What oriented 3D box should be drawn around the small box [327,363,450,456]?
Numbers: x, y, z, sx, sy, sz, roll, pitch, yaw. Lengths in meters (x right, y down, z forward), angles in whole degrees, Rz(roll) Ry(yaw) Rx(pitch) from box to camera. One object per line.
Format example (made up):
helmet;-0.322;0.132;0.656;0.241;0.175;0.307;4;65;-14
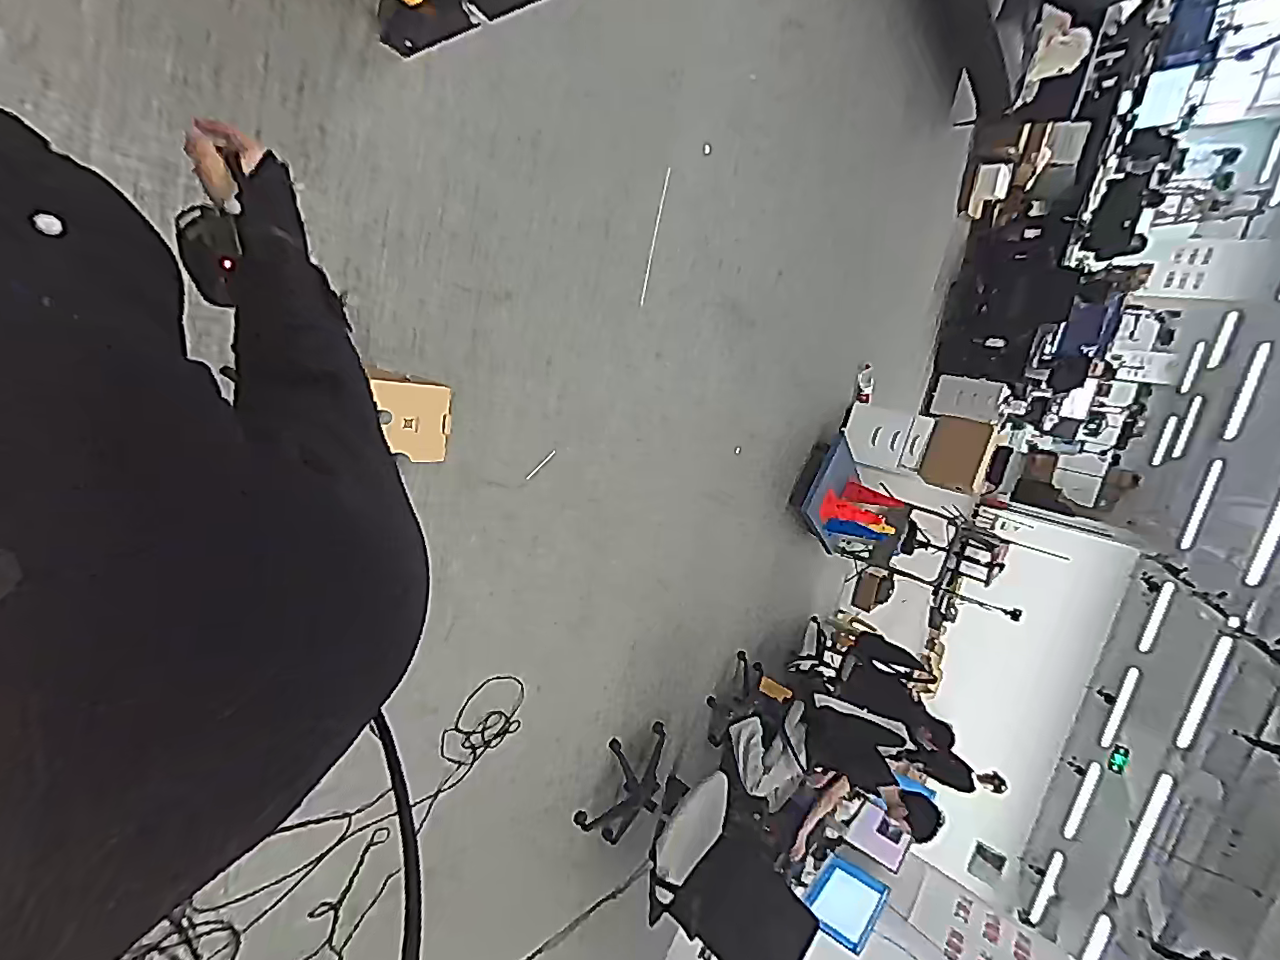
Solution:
small box;-0.533;-0.150;1.148;0.179;0.176;0.168;-4;109;-50
